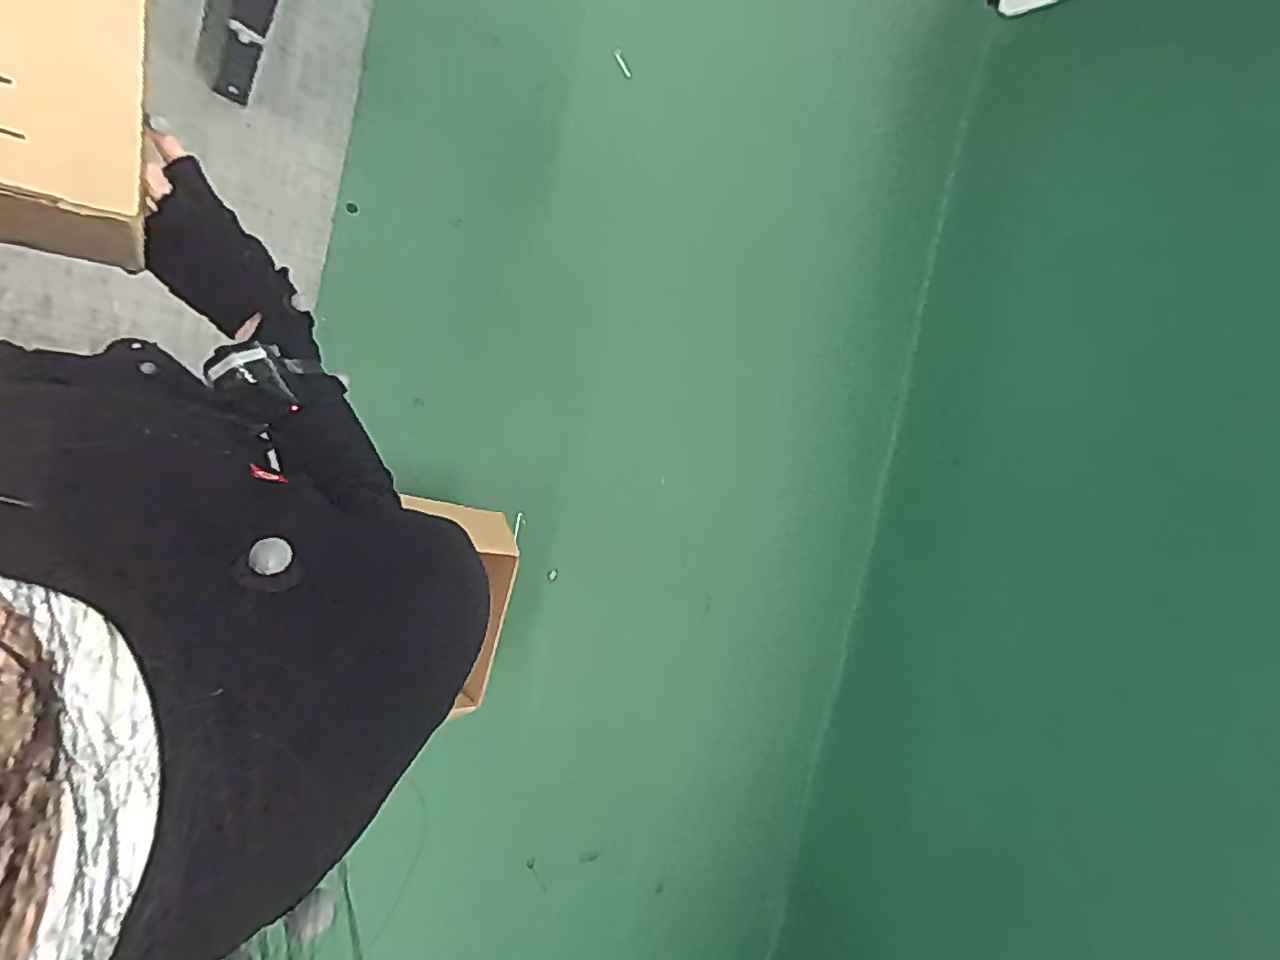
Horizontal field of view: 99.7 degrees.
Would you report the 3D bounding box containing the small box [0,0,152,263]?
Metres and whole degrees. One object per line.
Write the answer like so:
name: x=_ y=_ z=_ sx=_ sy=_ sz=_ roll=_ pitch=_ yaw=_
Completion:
small box: x=-0.401 y=-0.246 z=0.318 sx=0.168 sy=0.176 sz=0.179 roll=1 pitch=95 yaw=-43
